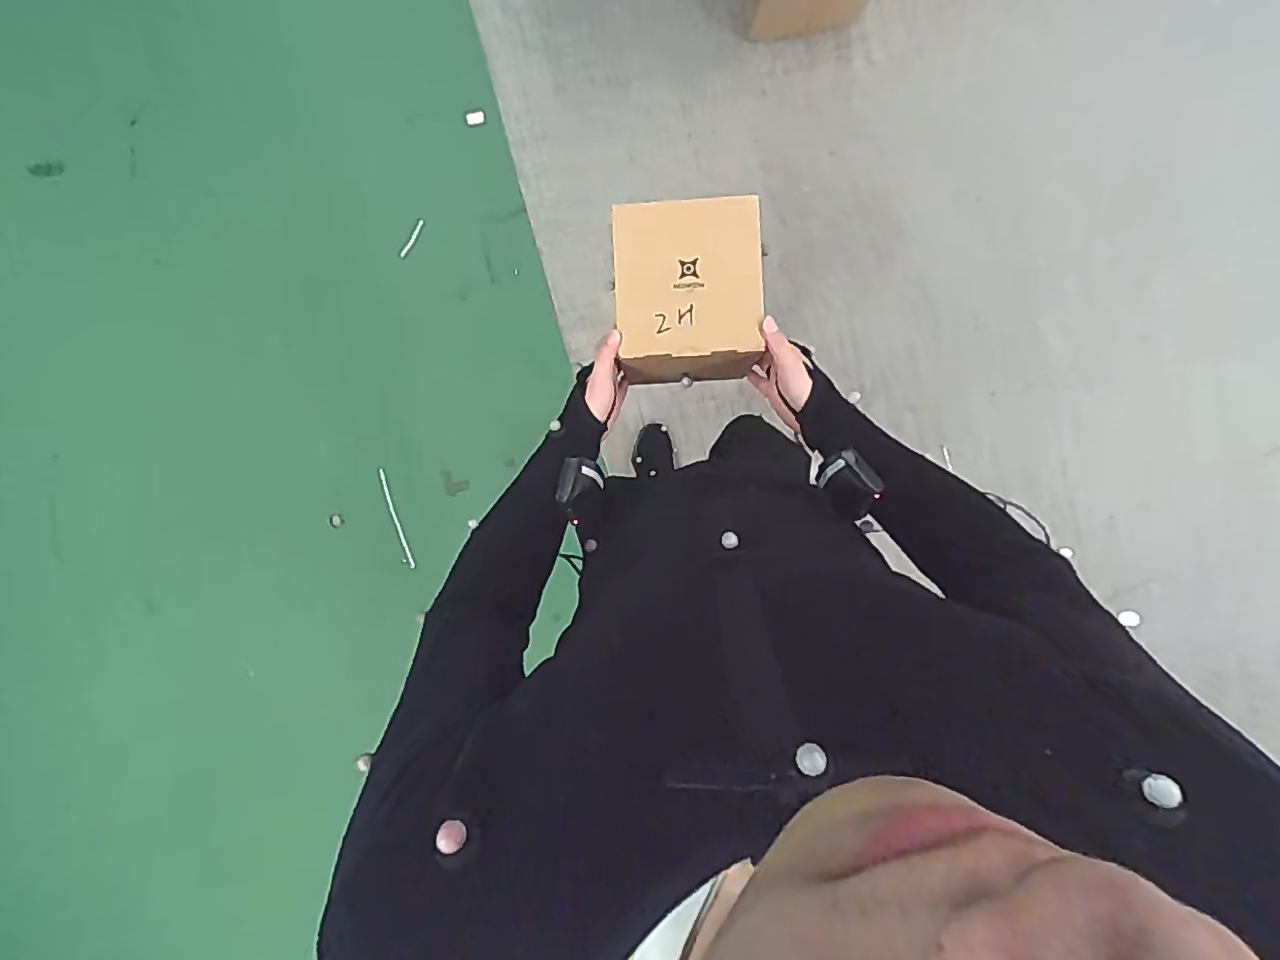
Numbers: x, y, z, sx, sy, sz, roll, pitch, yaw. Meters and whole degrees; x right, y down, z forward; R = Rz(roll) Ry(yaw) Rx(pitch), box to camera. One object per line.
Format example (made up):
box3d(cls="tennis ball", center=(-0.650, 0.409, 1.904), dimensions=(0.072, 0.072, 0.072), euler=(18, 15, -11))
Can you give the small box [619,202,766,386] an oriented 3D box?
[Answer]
box3d(cls="small box", center=(0.060, -0.222, 0.683), dimensions=(0.168, 0.176, 0.179), euler=(-2, 90, 2))
